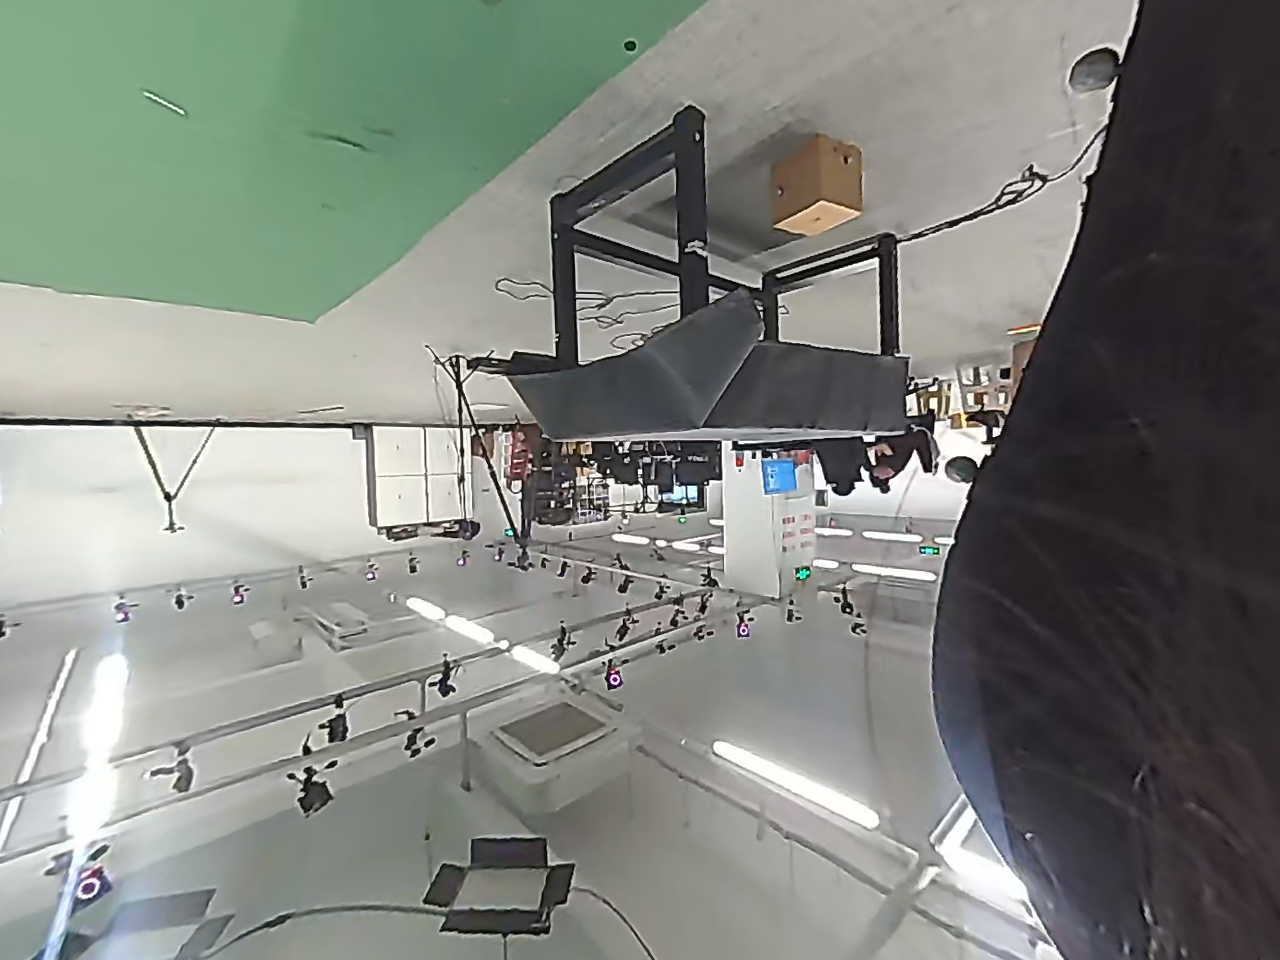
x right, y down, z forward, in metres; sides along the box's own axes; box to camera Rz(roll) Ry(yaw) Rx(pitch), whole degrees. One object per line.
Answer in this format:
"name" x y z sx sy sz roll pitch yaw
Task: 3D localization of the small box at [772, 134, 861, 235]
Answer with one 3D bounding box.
"small box" 0.477 -0.793 1.465 0.168 0.176 0.179 -4 -176 -31
